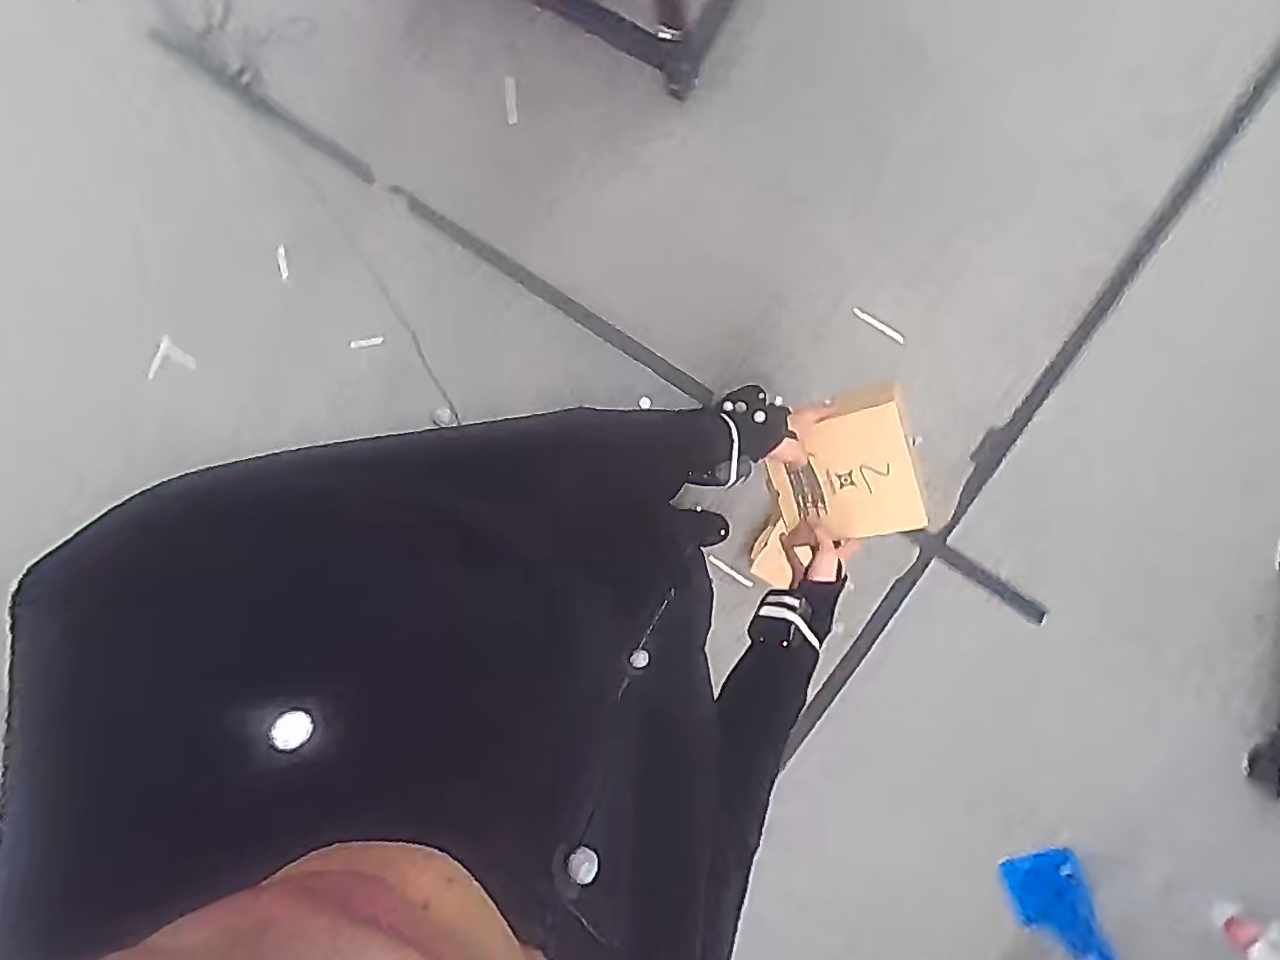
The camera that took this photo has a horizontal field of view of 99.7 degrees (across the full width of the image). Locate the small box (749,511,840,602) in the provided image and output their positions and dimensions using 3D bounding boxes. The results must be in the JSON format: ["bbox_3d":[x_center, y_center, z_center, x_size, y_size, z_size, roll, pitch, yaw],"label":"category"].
[{"bbox_3d":[0.413,0.199,1.479,0.179,0.176,0.168,31,98,7],"label":"small box"}]
